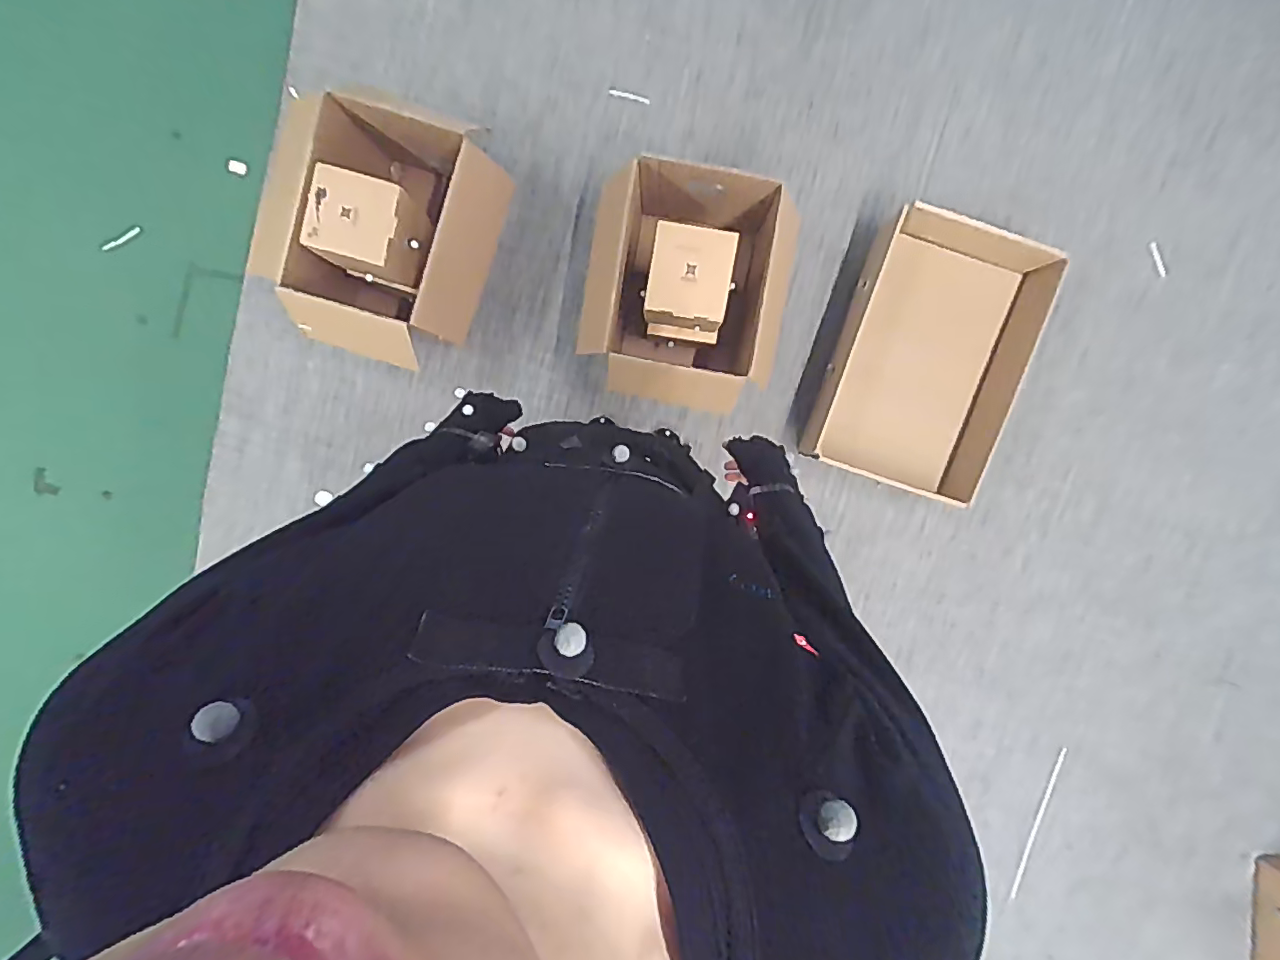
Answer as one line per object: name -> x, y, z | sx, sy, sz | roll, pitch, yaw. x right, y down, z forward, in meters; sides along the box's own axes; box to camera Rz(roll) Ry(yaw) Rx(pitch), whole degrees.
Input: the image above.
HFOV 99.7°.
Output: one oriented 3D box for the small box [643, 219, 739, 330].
small box -> 0.103, -0.427, 1.155 | 0.168, 0.176, 0.179 | 10, 98, -1
